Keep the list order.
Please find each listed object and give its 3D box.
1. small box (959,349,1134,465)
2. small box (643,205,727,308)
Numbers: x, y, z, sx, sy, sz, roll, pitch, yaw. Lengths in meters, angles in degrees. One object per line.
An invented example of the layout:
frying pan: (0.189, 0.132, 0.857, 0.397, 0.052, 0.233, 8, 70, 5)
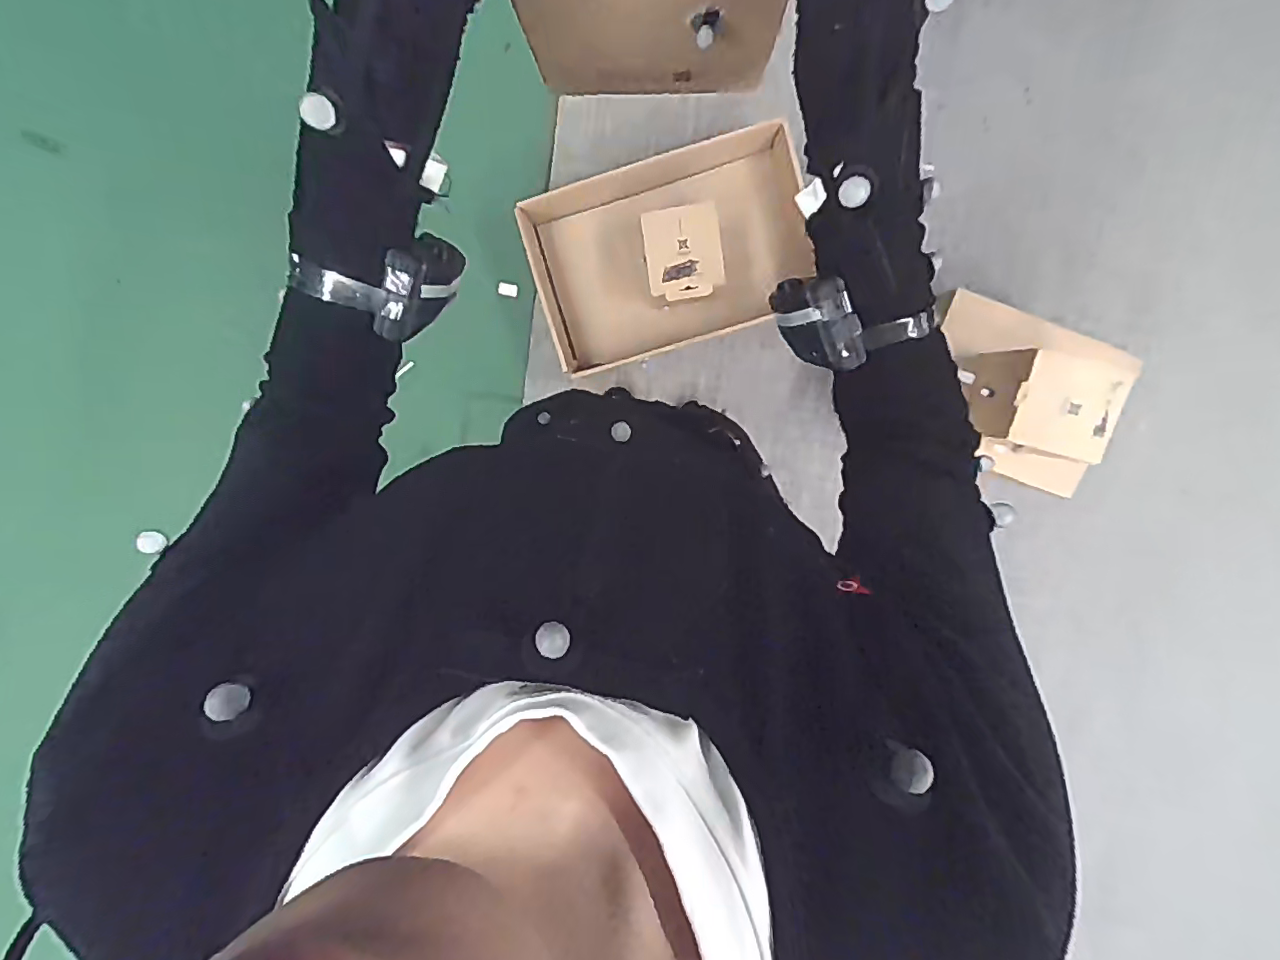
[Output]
small box: (0.744, -0.137, 1.015, 0.179, 0.176, 0.168, 15, 100, 0)
small box: (0.103, -0.503, 1.246, 0.168, 0.176, 0.179, -8, 97, 4)
